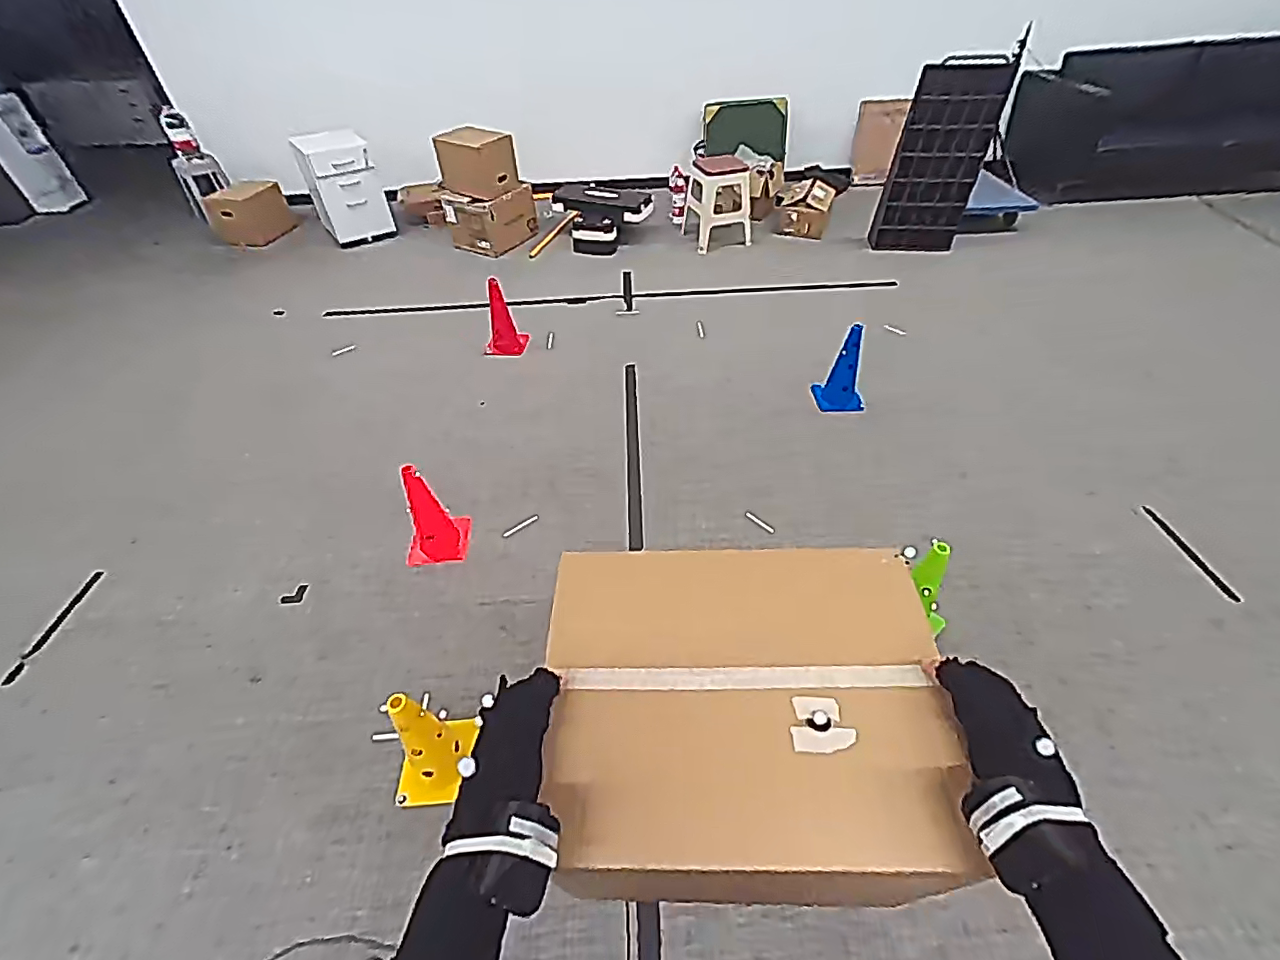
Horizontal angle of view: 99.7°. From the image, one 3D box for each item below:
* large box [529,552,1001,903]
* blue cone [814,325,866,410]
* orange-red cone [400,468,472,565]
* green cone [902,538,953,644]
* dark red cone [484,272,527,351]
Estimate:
[{"bbox_3d":[0.107,0.304,0.659,0.408,0.320,0.320,-1,48,3],"label":"large box"},{"bbox_3d":[0.892,-0.491,2.326,0.192,0.380,0.193,0,45,1],"label":"blue cone"},{"bbox_3d":[-0.711,0.098,1.792,0.198,0.360,0.199,-6,46,-2],"label":"orange-red cone"},{"bbox_3d":[0.789,0.295,1.519,0.202,0.368,0.200,-31,52,-27],"label":"green cone"},{"bbox_3d":[-0.700,-0.838,2.695,0.201,0.394,0.202,2,45,3],"label":"dark red cone"}]
